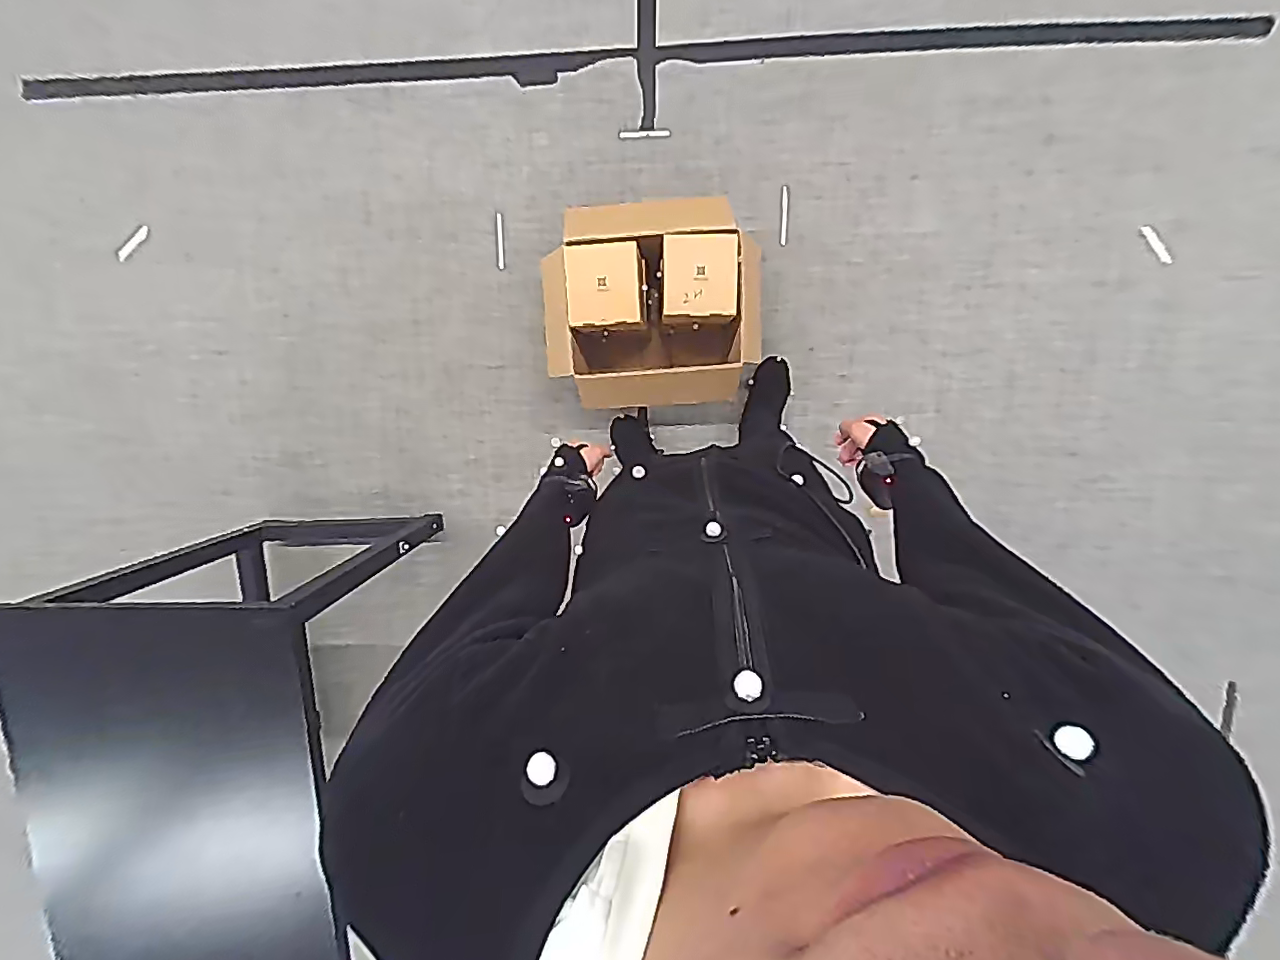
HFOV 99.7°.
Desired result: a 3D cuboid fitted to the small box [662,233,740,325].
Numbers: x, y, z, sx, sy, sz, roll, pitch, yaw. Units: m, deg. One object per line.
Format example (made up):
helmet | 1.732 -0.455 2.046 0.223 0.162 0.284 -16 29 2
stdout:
small box | 0.137 -0.466 1.272 0.168 0.176 0.179 1 100 3
